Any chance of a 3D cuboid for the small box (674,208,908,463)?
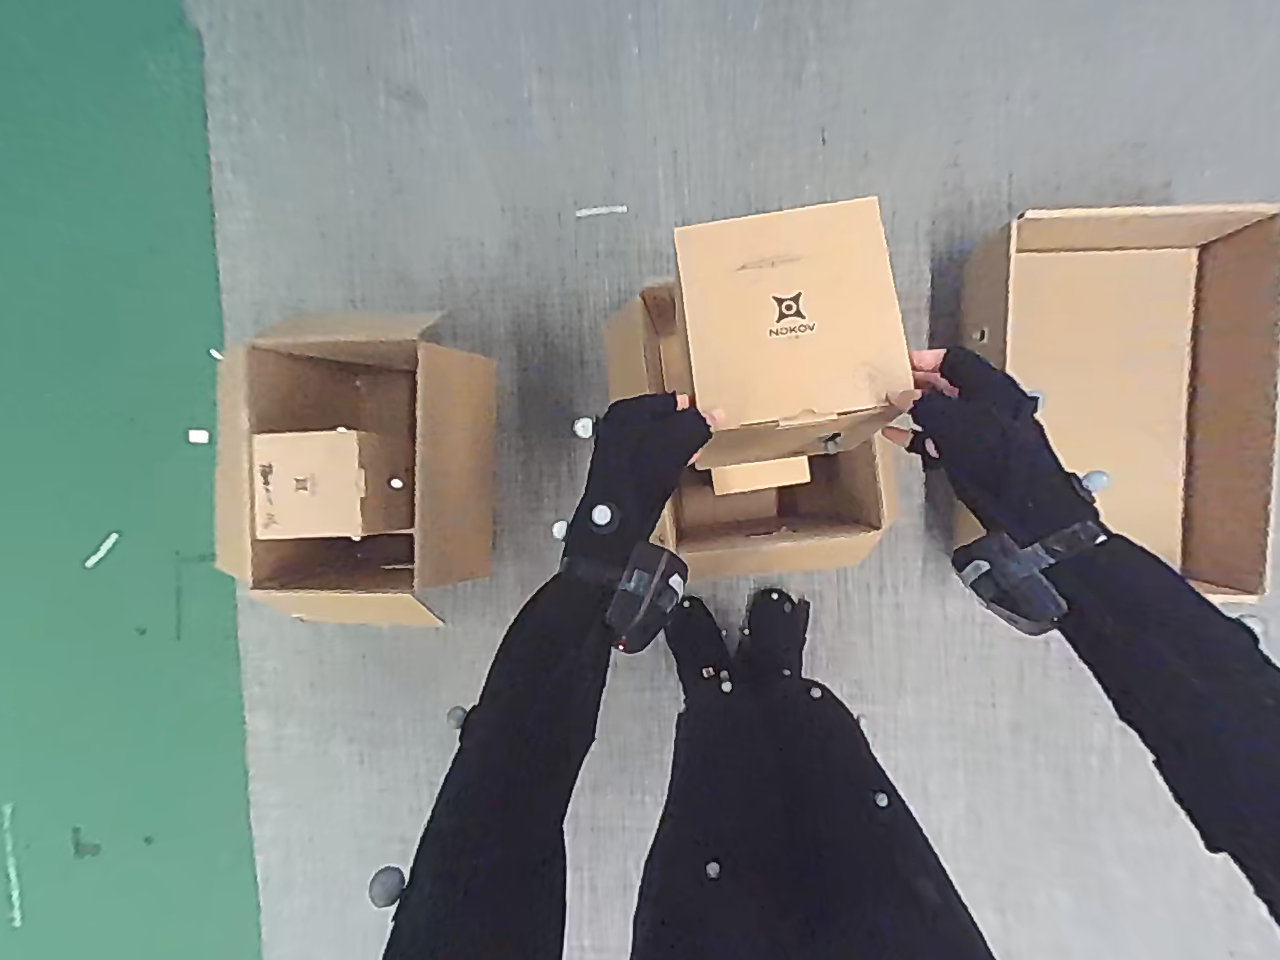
[{"bbox_3d":[0.125,-0.116,0.510,0.168,0.176,0.179,-7,81,4],"label":"small box"}]
